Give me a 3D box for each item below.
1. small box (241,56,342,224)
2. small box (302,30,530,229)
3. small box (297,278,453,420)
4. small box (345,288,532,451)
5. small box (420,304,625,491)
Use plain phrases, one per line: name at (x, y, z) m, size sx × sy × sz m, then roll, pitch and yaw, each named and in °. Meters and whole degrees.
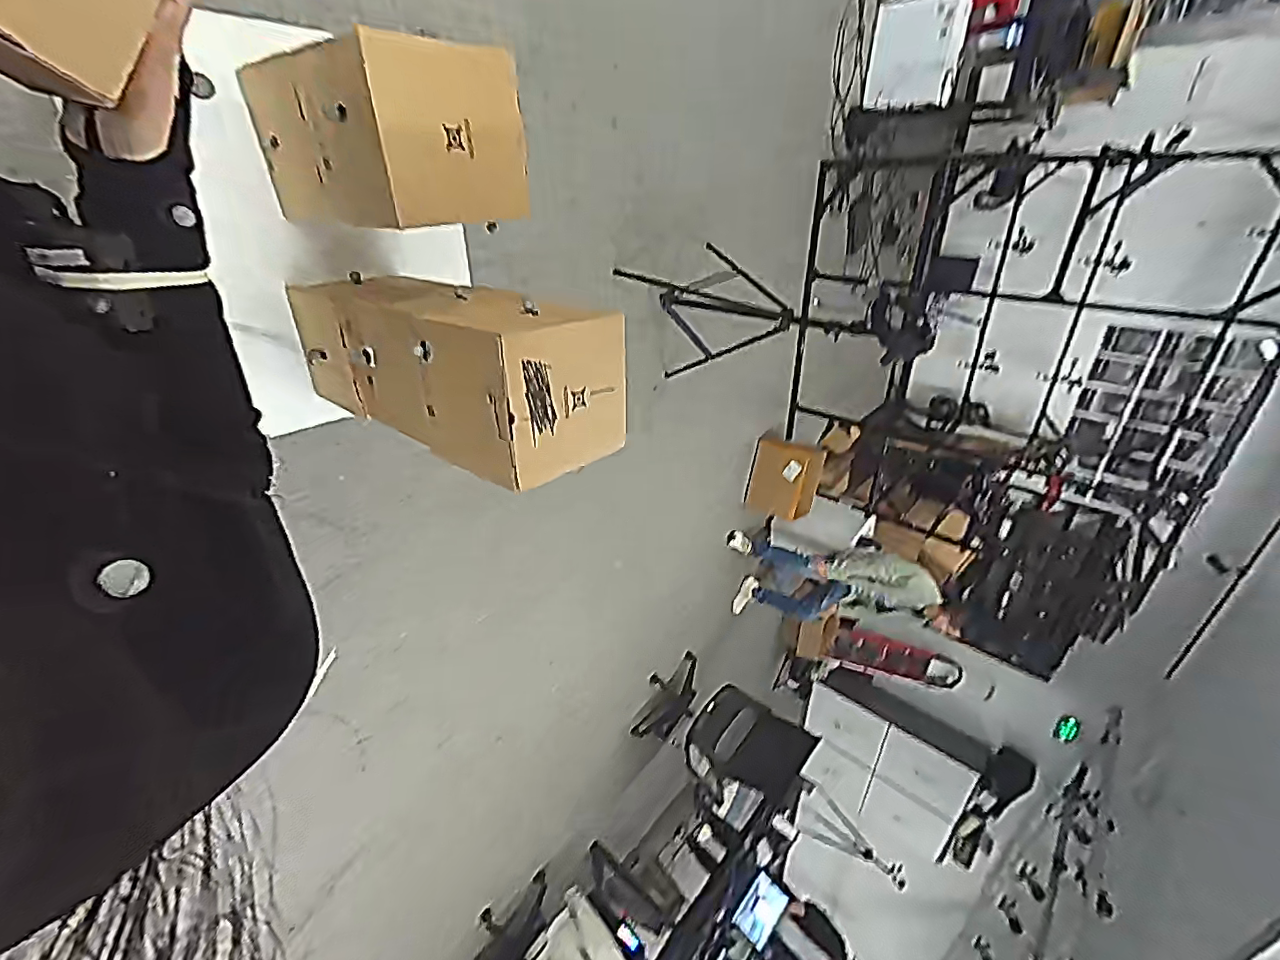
small box at (-0.375, -0.438, 0.711) m, size 0.179 × 0.176 × 0.168 m, roll -31°, pitch 131°, yaw -40°
small box at (-0.254, -0.383, 0.617) m, size 0.179 × 0.176 × 0.168 m, roll -31°, pitch 132°, yaw -41°
small box at (-0.389, -0.207, 0.818) m, size 0.179 × 0.176 × 0.168 m, roll -27°, pitch 129°, yaw -41°
small box at (-0.259, -0.160, 0.731) m, size 0.179 × 0.176 × 0.168 m, roll -28°, pitch 128°, yaw -42°
small box at (-0.137, -0.109, 0.635) m, size 0.179 × 0.176 × 0.168 m, roll -28°, pitch 128°, yaw -45°
